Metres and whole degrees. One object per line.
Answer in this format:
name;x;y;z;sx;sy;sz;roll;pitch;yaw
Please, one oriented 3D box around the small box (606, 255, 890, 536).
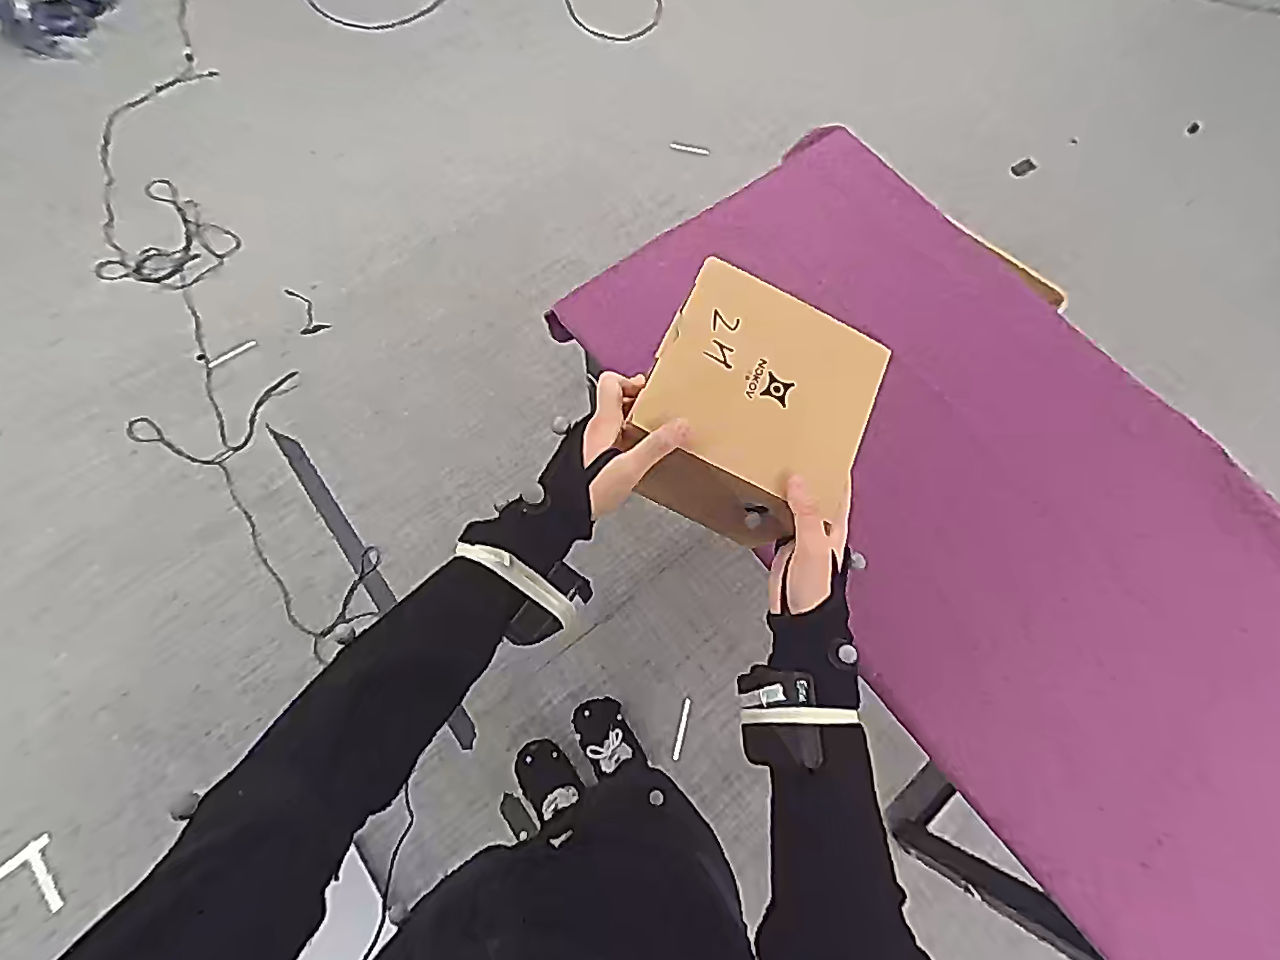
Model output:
small box;0.084;-0.058;0.496;0.179;0.176;0.168;25;73;-3
